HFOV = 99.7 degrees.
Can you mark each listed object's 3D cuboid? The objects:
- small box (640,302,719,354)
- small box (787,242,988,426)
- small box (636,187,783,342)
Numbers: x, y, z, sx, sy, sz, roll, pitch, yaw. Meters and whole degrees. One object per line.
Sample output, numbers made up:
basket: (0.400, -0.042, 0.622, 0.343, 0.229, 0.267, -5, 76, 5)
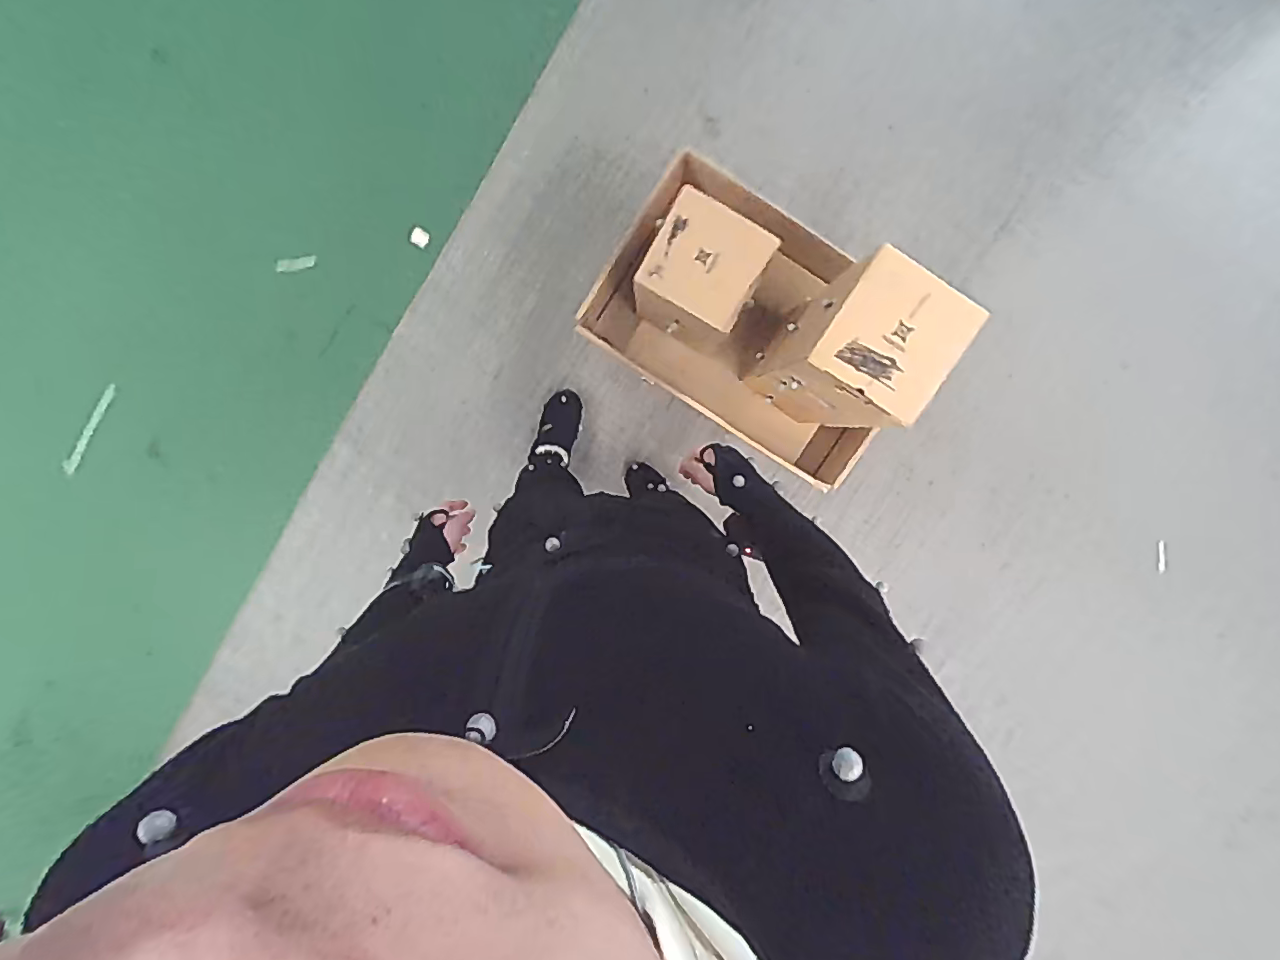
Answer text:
small box: (0.110, -0.368, 1.080, 0.179, 0.176, 0.168, 32, 96, -4)
small box: (0.329, -0.191, 0.766, 0.168, 0.176, 0.179, 33, 95, -3)
small box: (0.108, -0.349, 0.917, 0.179, 0.176, 0.168, 30, 96, -3)
